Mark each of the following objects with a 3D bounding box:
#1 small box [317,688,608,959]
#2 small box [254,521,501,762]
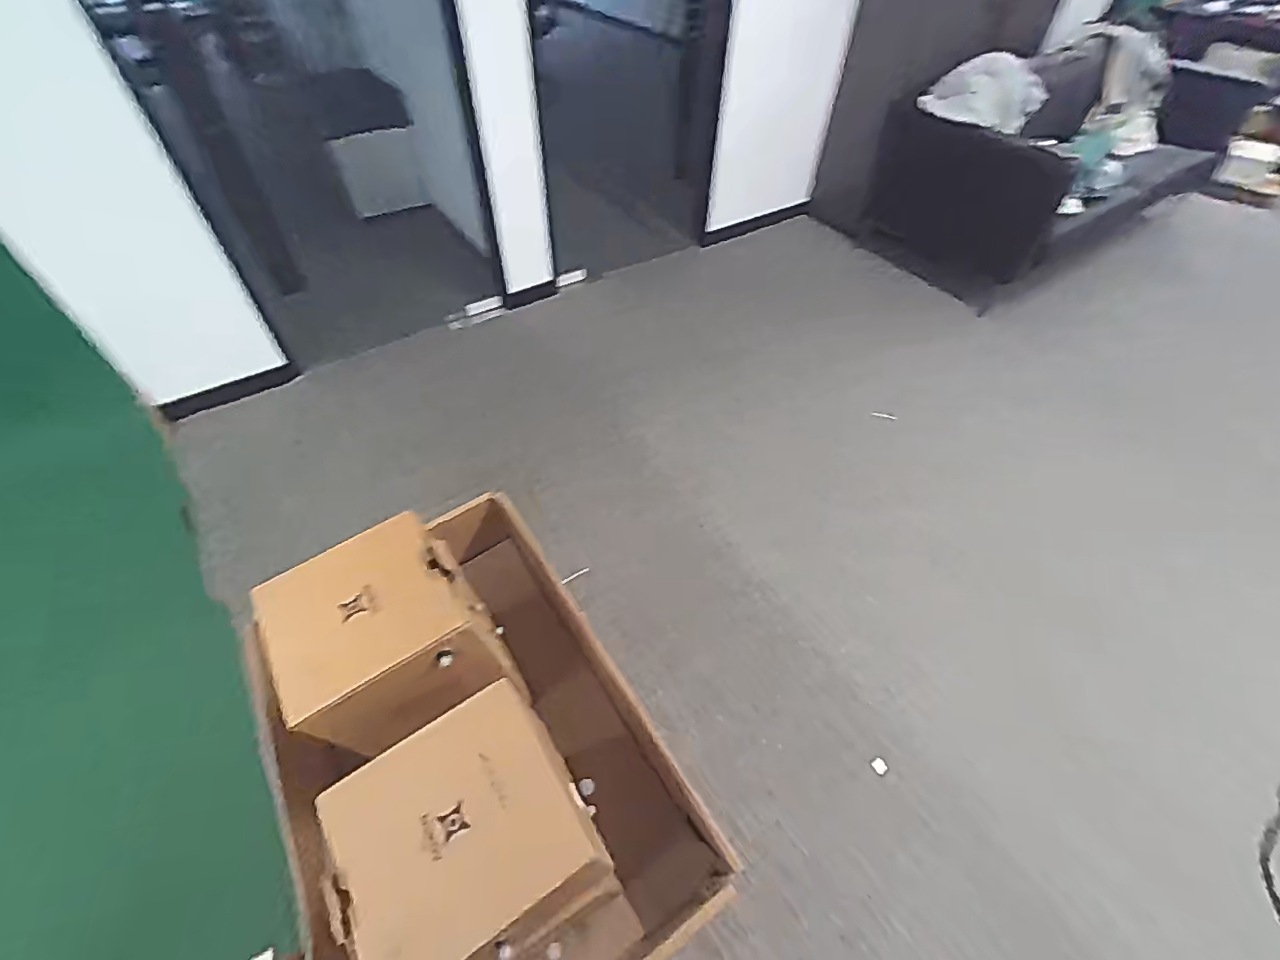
[{"bbox_3d":[-0.146,0.330,0.488,0.179,0.176,0.168,-29,56,-19],"label":"small box"},{"bbox_3d":[-0.283,0.186,0.611,0.179,0.176,0.168,-30,58,-20],"label":"small box"}]
